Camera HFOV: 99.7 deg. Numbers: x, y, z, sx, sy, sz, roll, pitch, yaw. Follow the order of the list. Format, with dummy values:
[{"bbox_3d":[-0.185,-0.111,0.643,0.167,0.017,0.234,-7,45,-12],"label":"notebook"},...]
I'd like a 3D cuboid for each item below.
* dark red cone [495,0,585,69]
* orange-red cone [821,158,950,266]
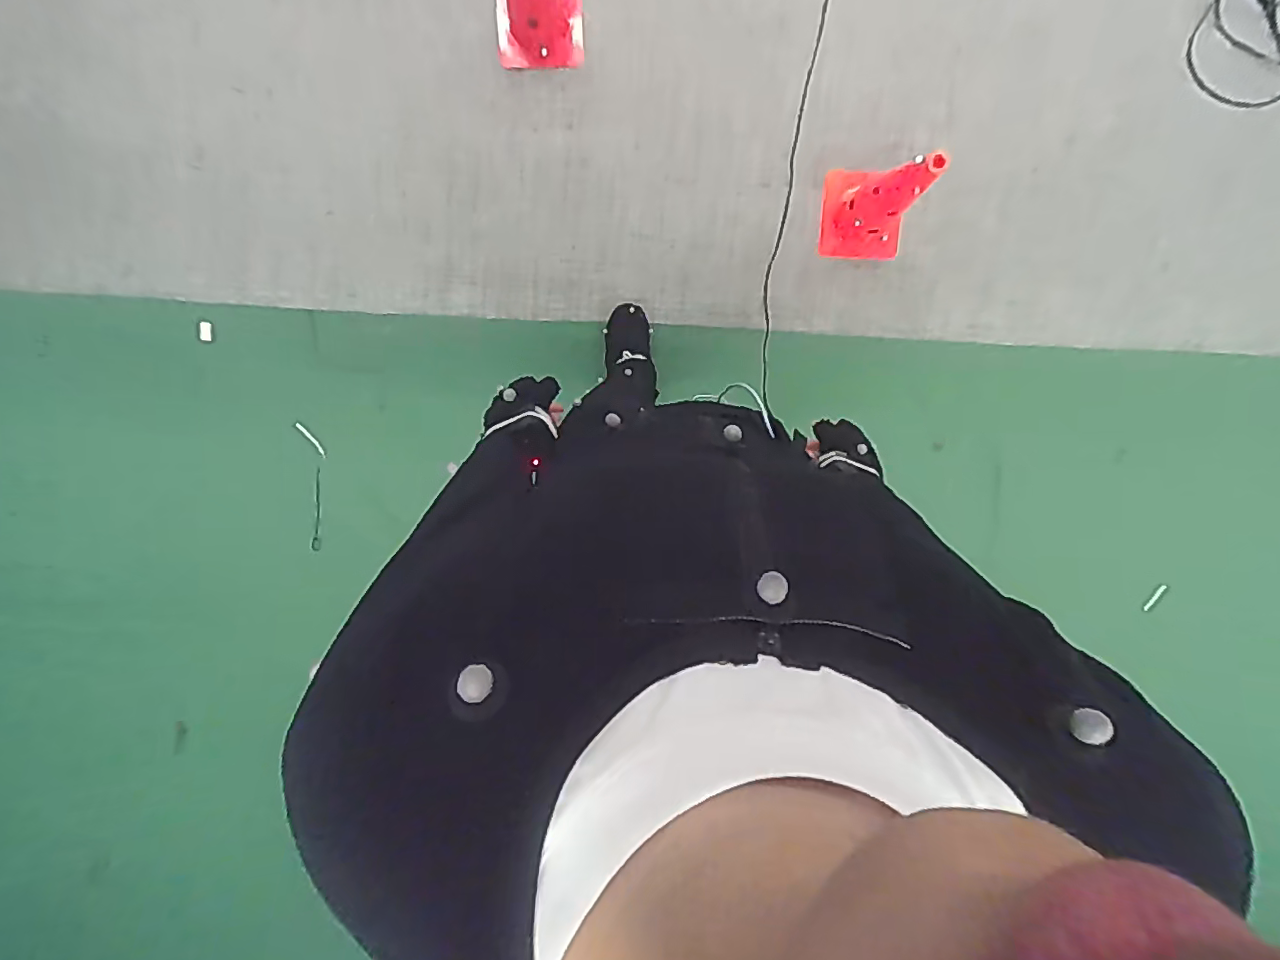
[{"bbox_3d":[-0.230,-1.027,1.082,0.202,0.394,0.201,-3,102,1],"label":"dark red cone"},{"bbox_3d":[0.556,-0.615,1.178,0.198,0.360,0.199,3,100,-1],"label":"orange-red cone"}]
